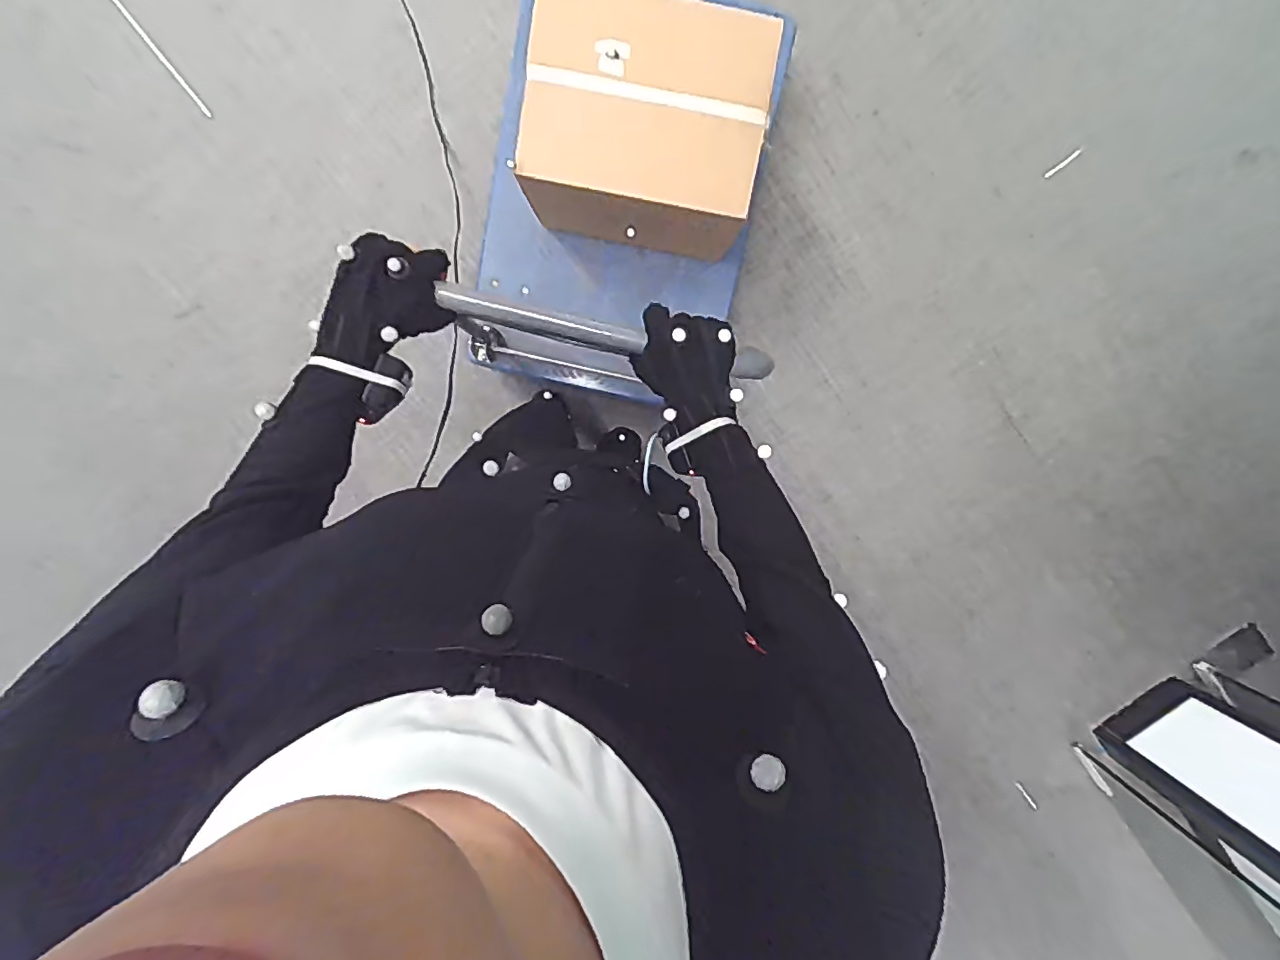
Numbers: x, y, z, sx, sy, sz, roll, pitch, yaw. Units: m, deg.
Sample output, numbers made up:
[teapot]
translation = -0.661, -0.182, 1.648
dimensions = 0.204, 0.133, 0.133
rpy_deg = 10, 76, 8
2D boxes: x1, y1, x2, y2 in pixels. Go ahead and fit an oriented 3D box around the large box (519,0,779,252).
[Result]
[large box]
translation = 0.012, -0.663, 1.050
dimensions = 0.408, 0.320, 0.320
rpy_deg = 9, 99, -2
